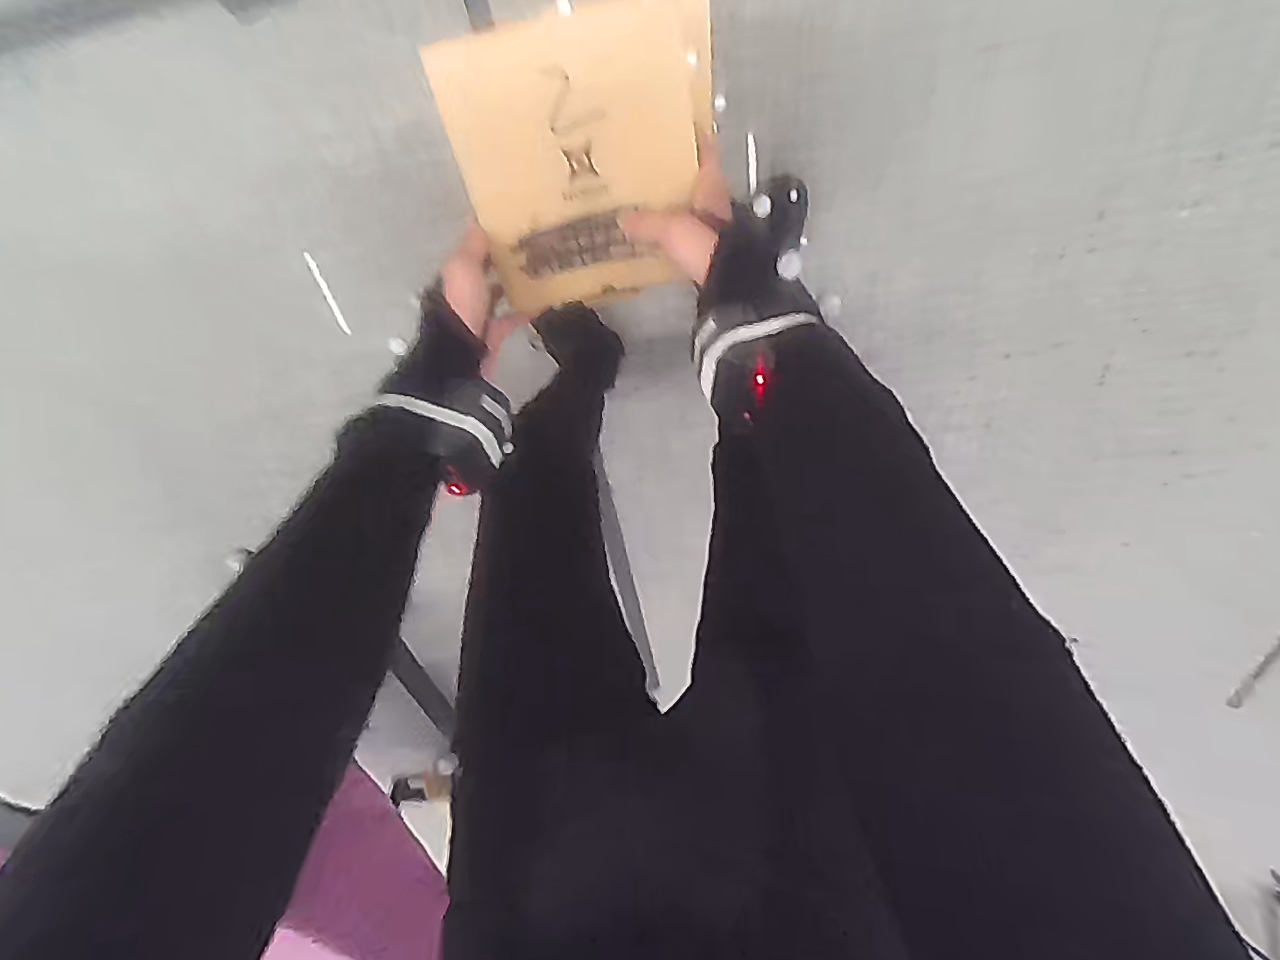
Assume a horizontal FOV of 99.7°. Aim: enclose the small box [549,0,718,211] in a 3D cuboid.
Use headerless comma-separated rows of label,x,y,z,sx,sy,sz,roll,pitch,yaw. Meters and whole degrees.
small box,0.000,-0.433,0.632,0.168,0.176,0.179,-4,128,5
